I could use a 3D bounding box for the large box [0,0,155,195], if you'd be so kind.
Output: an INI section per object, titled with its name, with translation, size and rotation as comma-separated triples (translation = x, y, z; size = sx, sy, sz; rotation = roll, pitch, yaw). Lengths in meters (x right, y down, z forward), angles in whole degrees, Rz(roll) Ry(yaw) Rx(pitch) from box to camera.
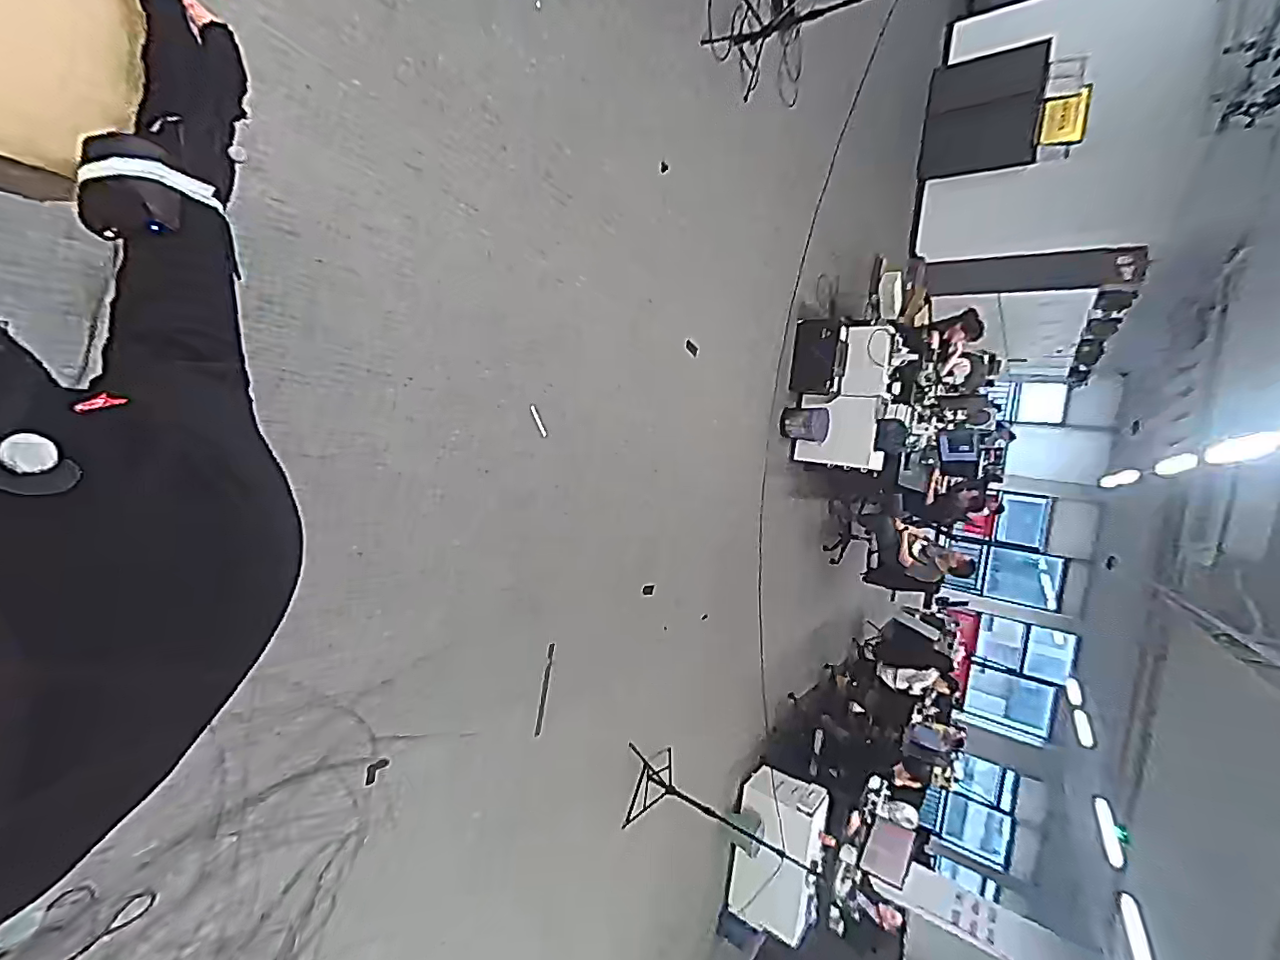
[large box]
translation = -0.617, -0.420, 0.336
size = 0.408, 0.320, 0.320
rotation = -1, 107, -60
